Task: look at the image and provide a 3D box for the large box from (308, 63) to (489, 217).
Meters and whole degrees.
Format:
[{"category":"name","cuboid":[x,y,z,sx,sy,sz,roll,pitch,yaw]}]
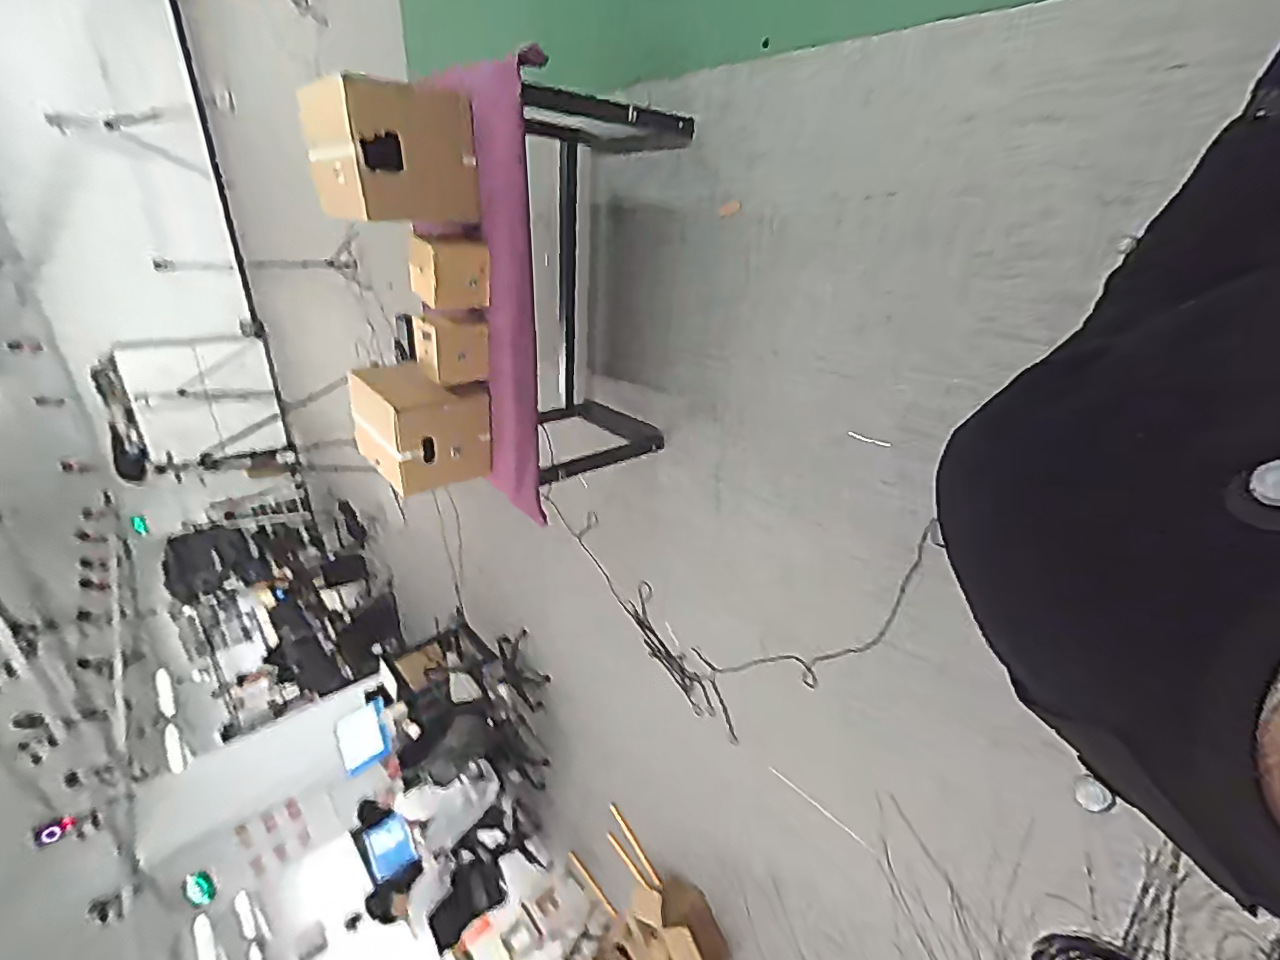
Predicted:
[{"category":"large box","cuboid":[-0.665,-0.907,1.499,0.408,0.320,0.320,27,127,40]}]
